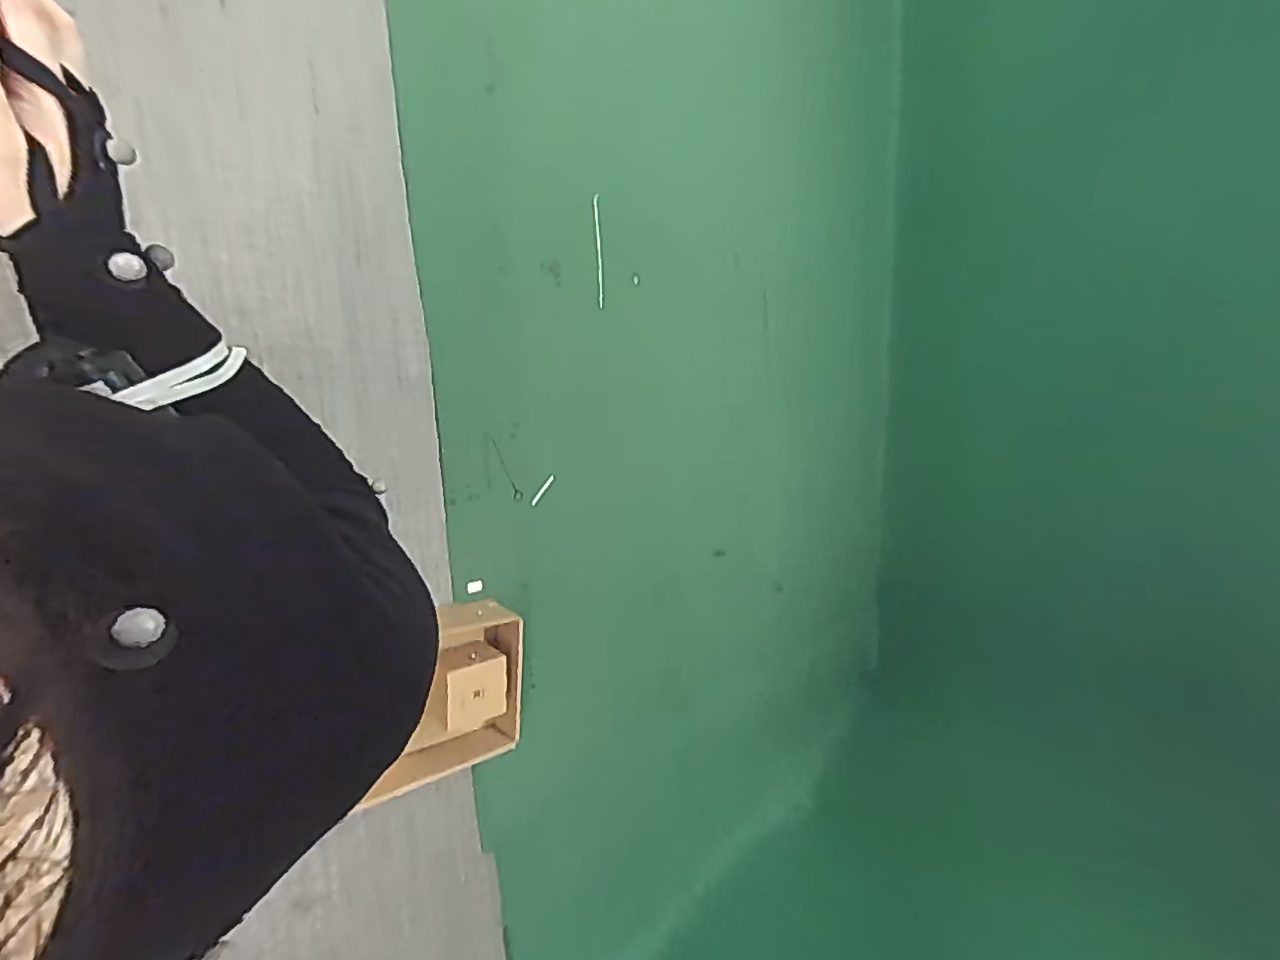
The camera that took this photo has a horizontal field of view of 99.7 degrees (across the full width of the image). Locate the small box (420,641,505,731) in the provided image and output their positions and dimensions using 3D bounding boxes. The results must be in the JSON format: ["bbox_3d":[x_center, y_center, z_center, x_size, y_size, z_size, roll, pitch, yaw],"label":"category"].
[{"bbox_3d":[-0.502,0.570,1.528,0.179,0.176,0.168,-2,96,-44],"label":"small box"}]
